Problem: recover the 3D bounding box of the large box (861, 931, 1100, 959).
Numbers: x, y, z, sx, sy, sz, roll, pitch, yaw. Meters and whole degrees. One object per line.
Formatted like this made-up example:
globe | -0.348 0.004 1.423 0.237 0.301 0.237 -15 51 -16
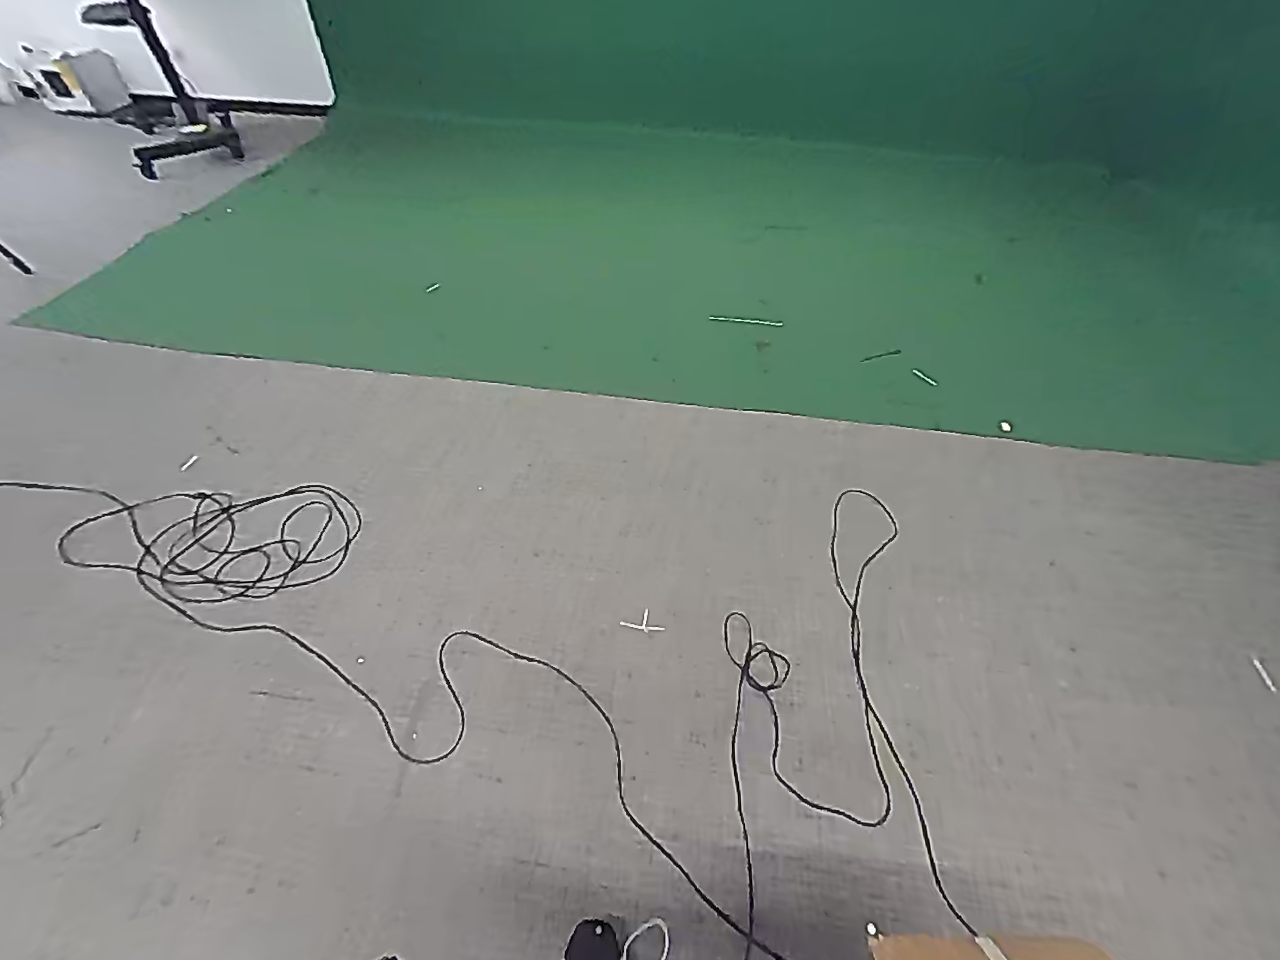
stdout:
large box | 0.459 0.780 0.553 0.320 0.408 0.320 0 86 3
